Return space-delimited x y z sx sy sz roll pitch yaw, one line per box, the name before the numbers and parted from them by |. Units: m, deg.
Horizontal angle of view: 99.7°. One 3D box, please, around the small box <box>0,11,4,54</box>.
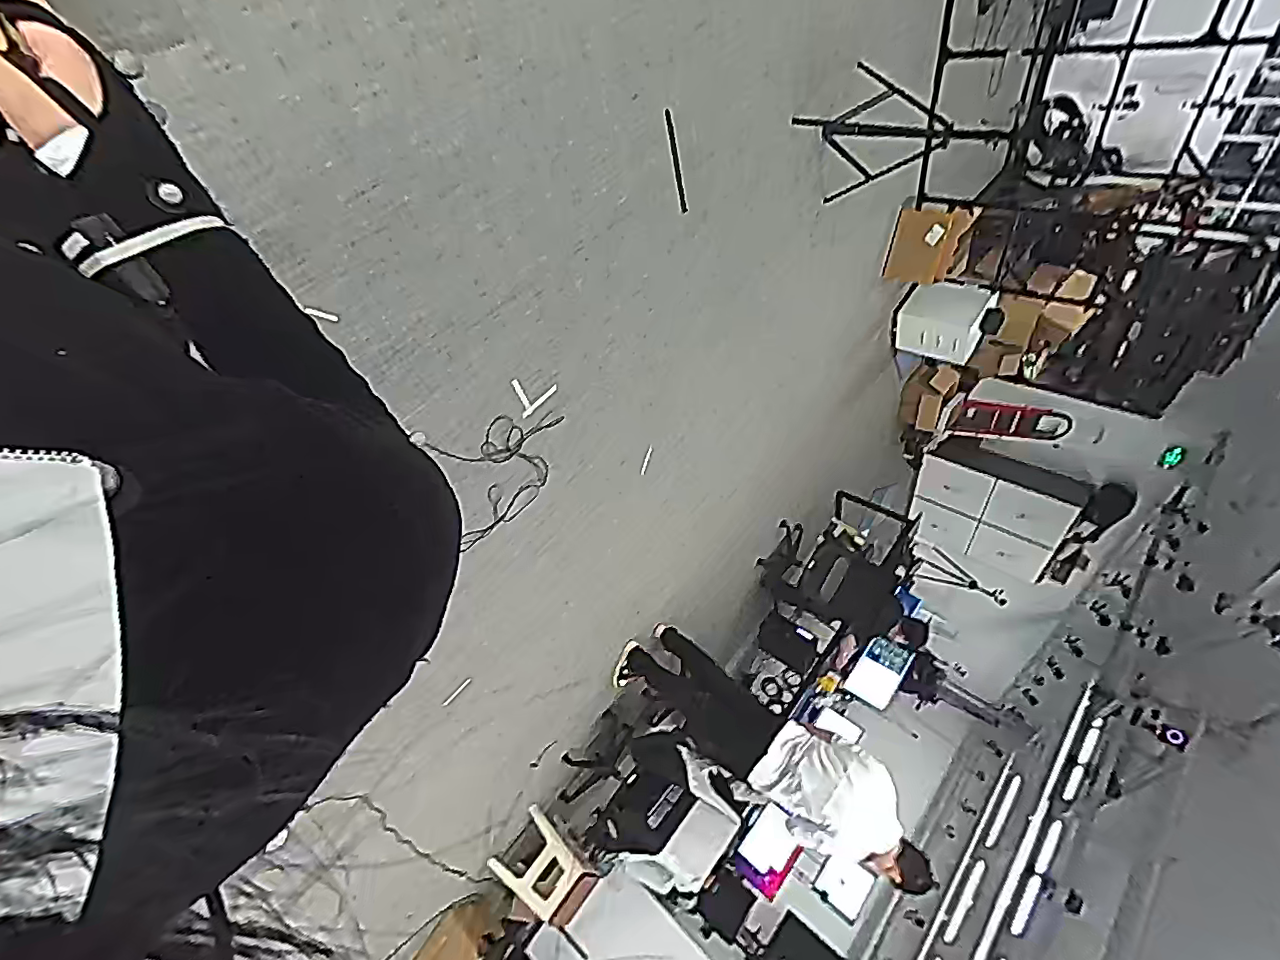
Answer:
small box | -0.486 -0.334 0.274 0.168 0.176 0.179 -26 137 -33
